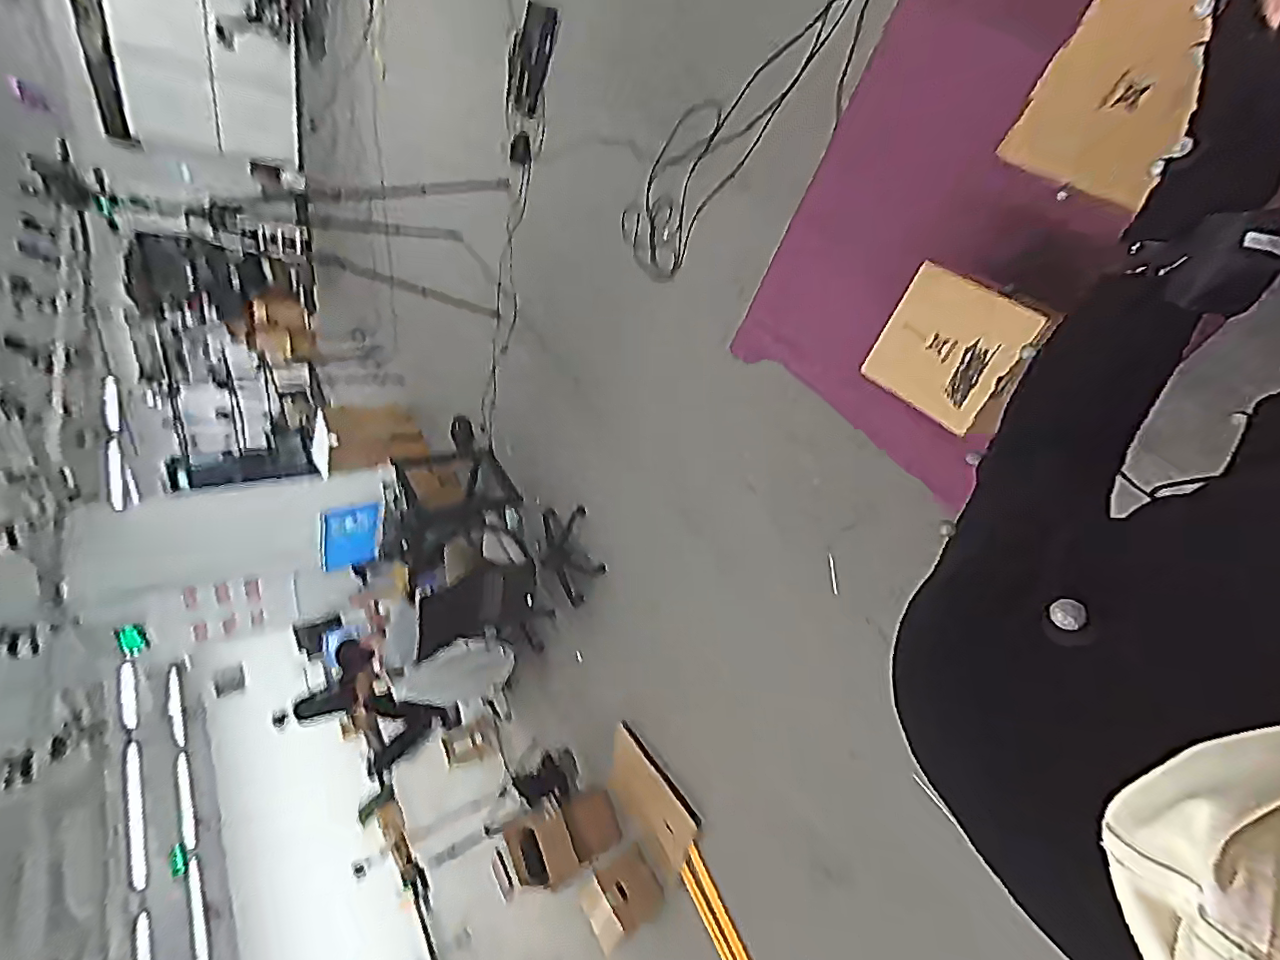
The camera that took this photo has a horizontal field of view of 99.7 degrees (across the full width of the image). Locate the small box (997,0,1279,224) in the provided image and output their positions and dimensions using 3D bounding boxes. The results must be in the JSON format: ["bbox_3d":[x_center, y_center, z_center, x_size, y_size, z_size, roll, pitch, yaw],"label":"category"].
[{"bbox_3d":[0.563,-0.407,0.607,0.179,0.176,0.168,51,136,32],"label":"small box"}]

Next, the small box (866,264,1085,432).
[{"bbox_3d":[0.475,-0.190,0.772,0.179,0.176,0.168,50,134,36],"label":"small box"}]
